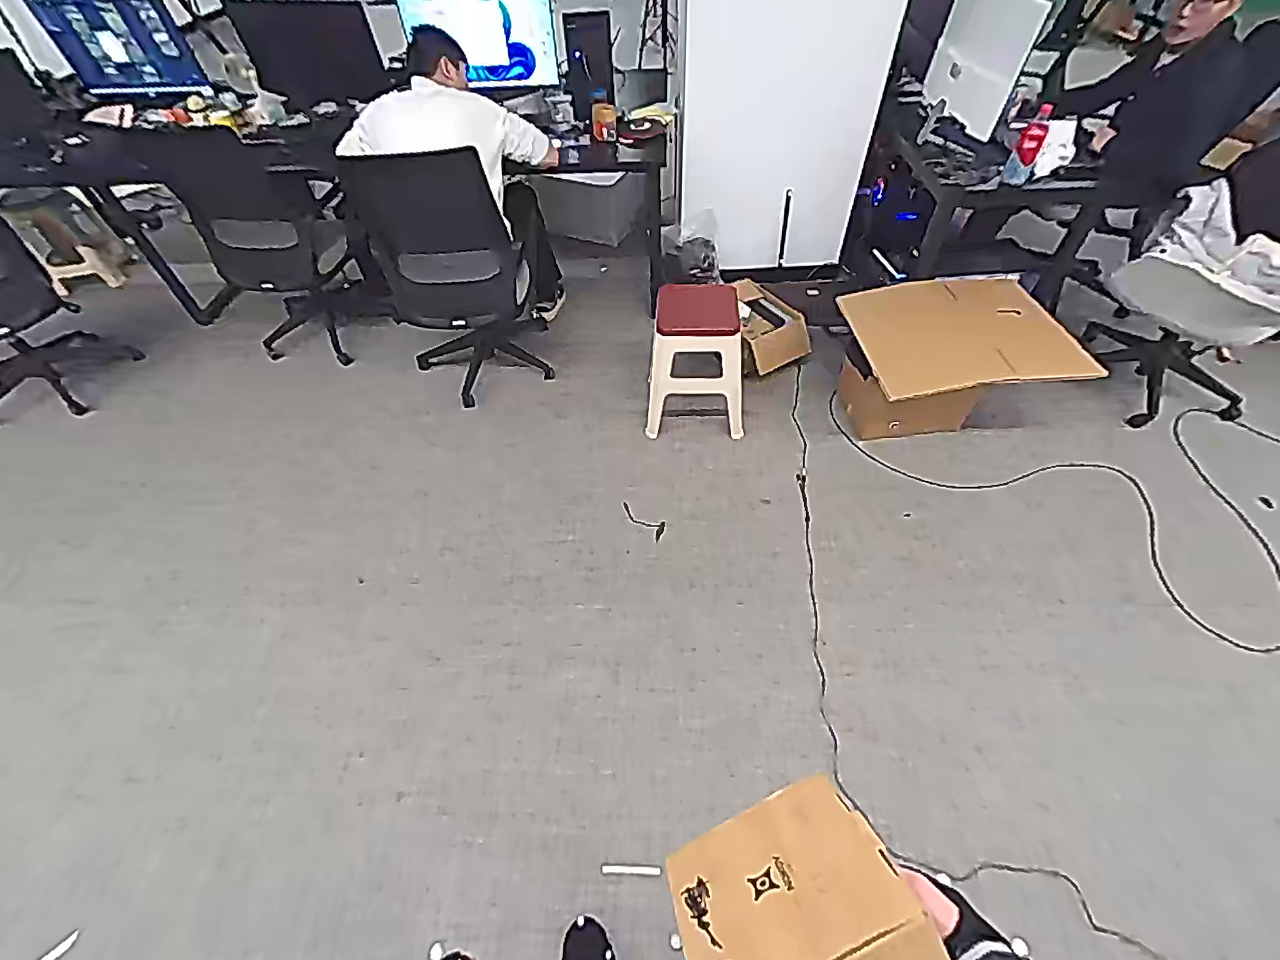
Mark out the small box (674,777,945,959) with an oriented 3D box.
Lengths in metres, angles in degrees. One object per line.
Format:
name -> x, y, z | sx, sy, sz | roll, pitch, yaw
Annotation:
small box -> 0.152, 0.410, 0.463 | 0.179, 0.168, 0.176 | -26, 94, -5
